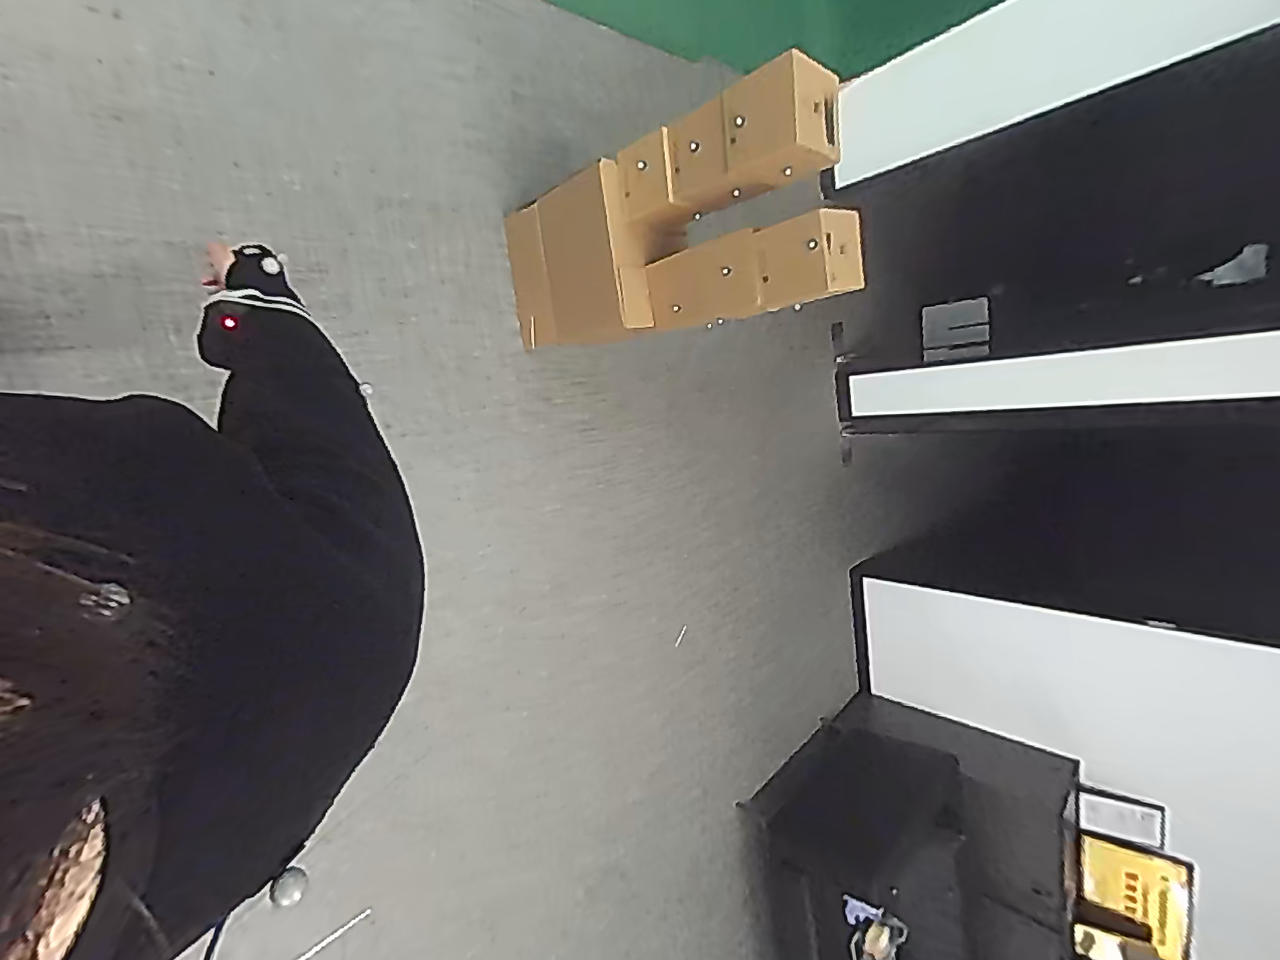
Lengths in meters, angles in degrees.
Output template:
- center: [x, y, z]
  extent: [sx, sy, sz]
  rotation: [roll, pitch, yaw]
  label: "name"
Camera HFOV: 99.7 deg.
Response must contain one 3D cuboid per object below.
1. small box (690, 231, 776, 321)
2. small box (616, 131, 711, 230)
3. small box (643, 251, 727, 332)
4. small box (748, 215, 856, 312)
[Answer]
- center: [0.244, -0.493, 1.335]
  extent: [0.168, 0.176, 0.179]
  rotation: [-18, 103, -42]
  label: "small box"
- center: [0.054, -0.743, 1.365]
  extent: [0.179, 0.176, 0.168]
  rotation: [-17, 105, -42]
  label: "small box"
- center: [0.130, -0.500, 1.454]
  extent: [0.168, 0.176, 0.179]
  rotation: [-20, 104, -42]
  label: "small box"
- center: [0.368, -0.484, 1.227]
  extent: [0.179, 0.176, 0.168]
  rotation: [-22, 106, -42]
  label: "small box"
